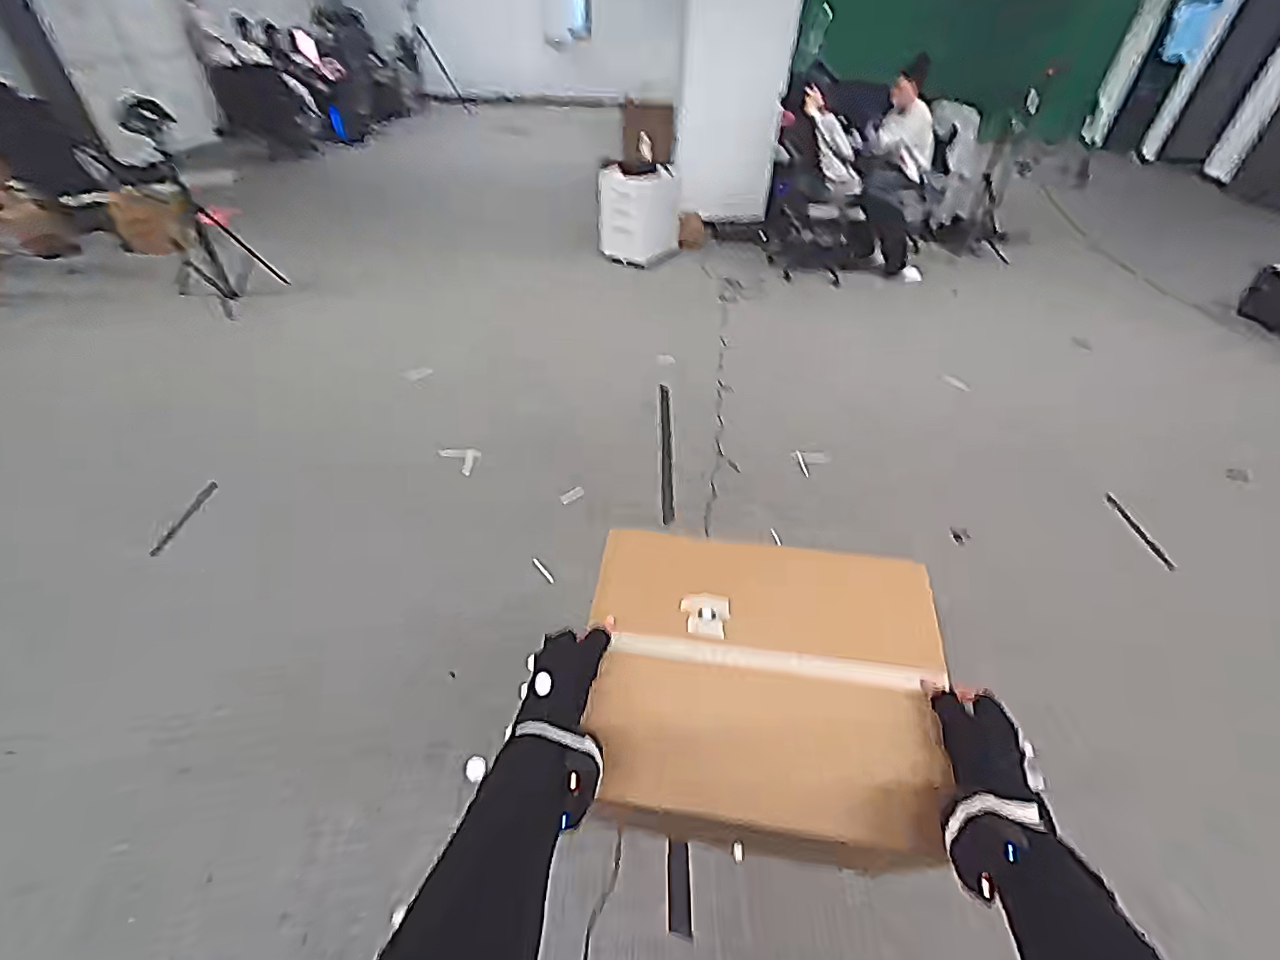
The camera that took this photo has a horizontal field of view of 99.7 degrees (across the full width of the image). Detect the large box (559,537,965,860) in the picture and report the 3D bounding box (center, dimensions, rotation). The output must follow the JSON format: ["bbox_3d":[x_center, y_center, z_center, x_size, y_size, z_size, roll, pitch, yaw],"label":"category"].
[{"bbox_3d":[0.139,0.302,0.737,0.408,0.320,0.320,5,51,7],"label":"large box"}]
